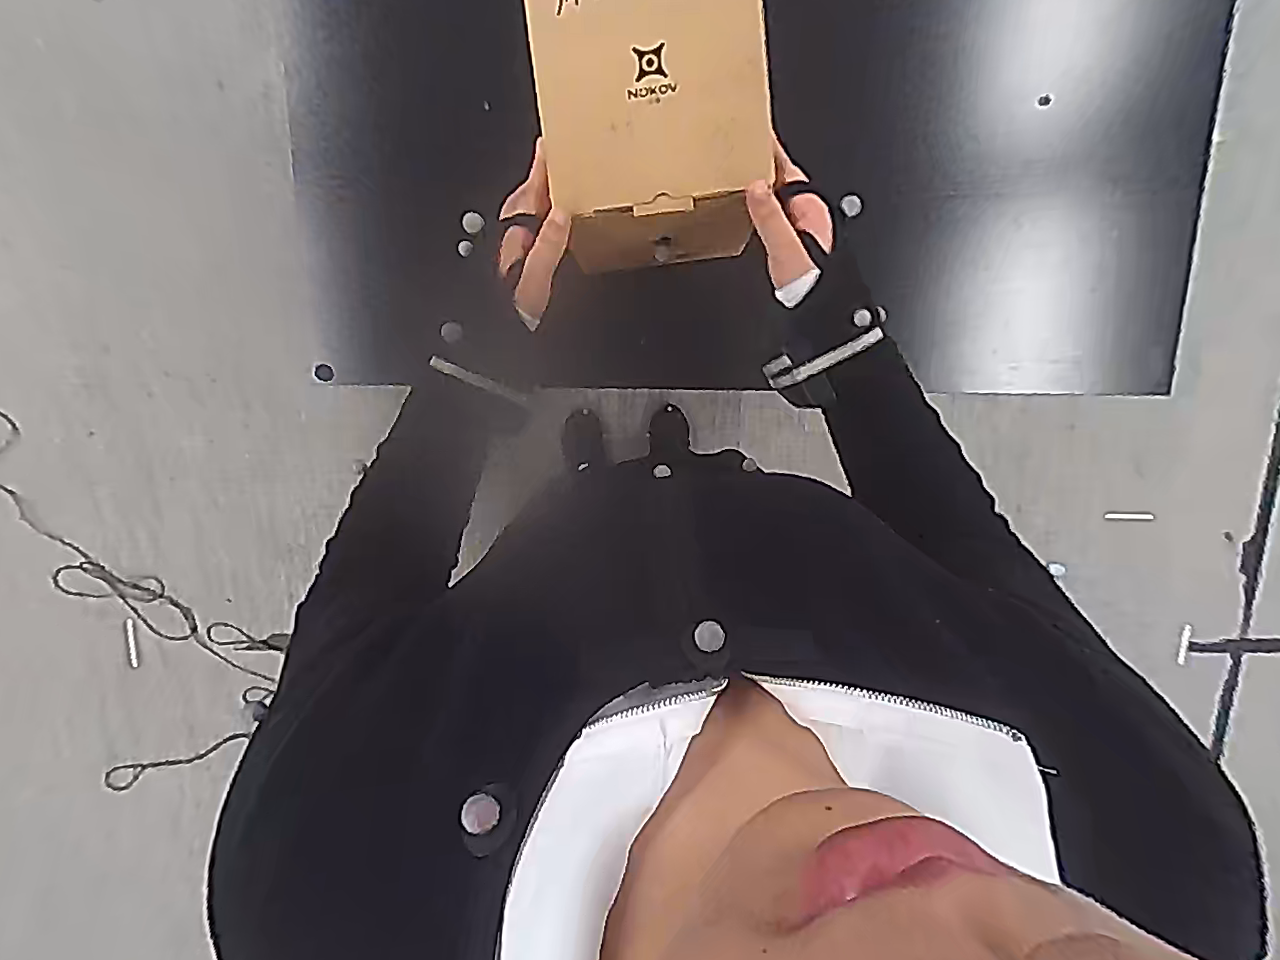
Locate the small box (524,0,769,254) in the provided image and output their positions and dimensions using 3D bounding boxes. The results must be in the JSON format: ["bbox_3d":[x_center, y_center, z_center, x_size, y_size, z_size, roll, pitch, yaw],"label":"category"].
[{"bbox_3d":[0.009,-0.301,0.457,0.168,0.176,0.179,-6,100,3],"label":"small box"}]
